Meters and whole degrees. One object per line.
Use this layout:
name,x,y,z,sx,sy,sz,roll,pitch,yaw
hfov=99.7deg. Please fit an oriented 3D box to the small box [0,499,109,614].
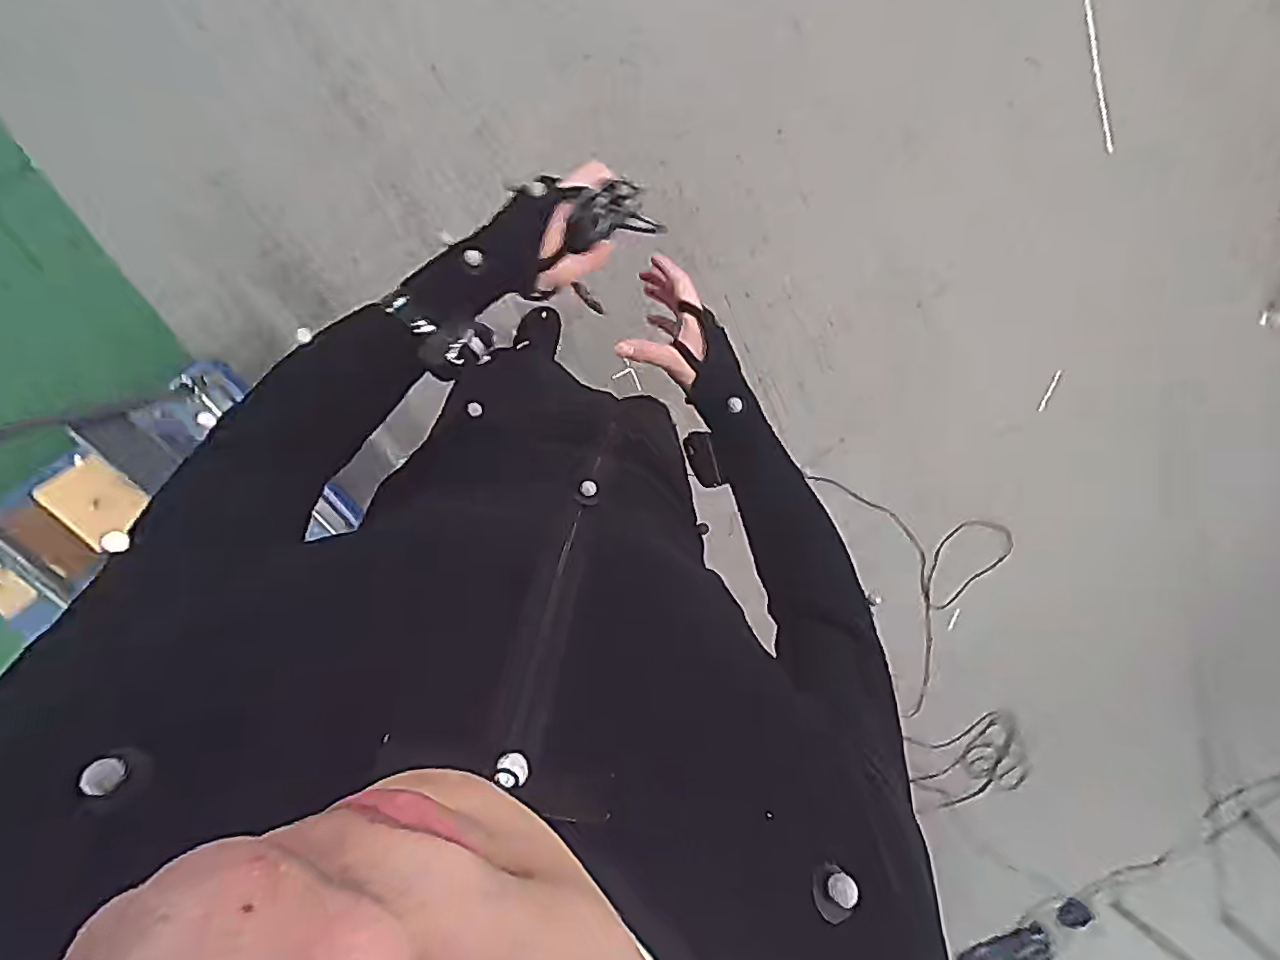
small box,-1.395,0.164,1.234,0.179,0.176,0.168,-36,111,4

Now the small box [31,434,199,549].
small box,-1.167,0.020,1.221,0.179,0.176,0.168,-31,110,2
